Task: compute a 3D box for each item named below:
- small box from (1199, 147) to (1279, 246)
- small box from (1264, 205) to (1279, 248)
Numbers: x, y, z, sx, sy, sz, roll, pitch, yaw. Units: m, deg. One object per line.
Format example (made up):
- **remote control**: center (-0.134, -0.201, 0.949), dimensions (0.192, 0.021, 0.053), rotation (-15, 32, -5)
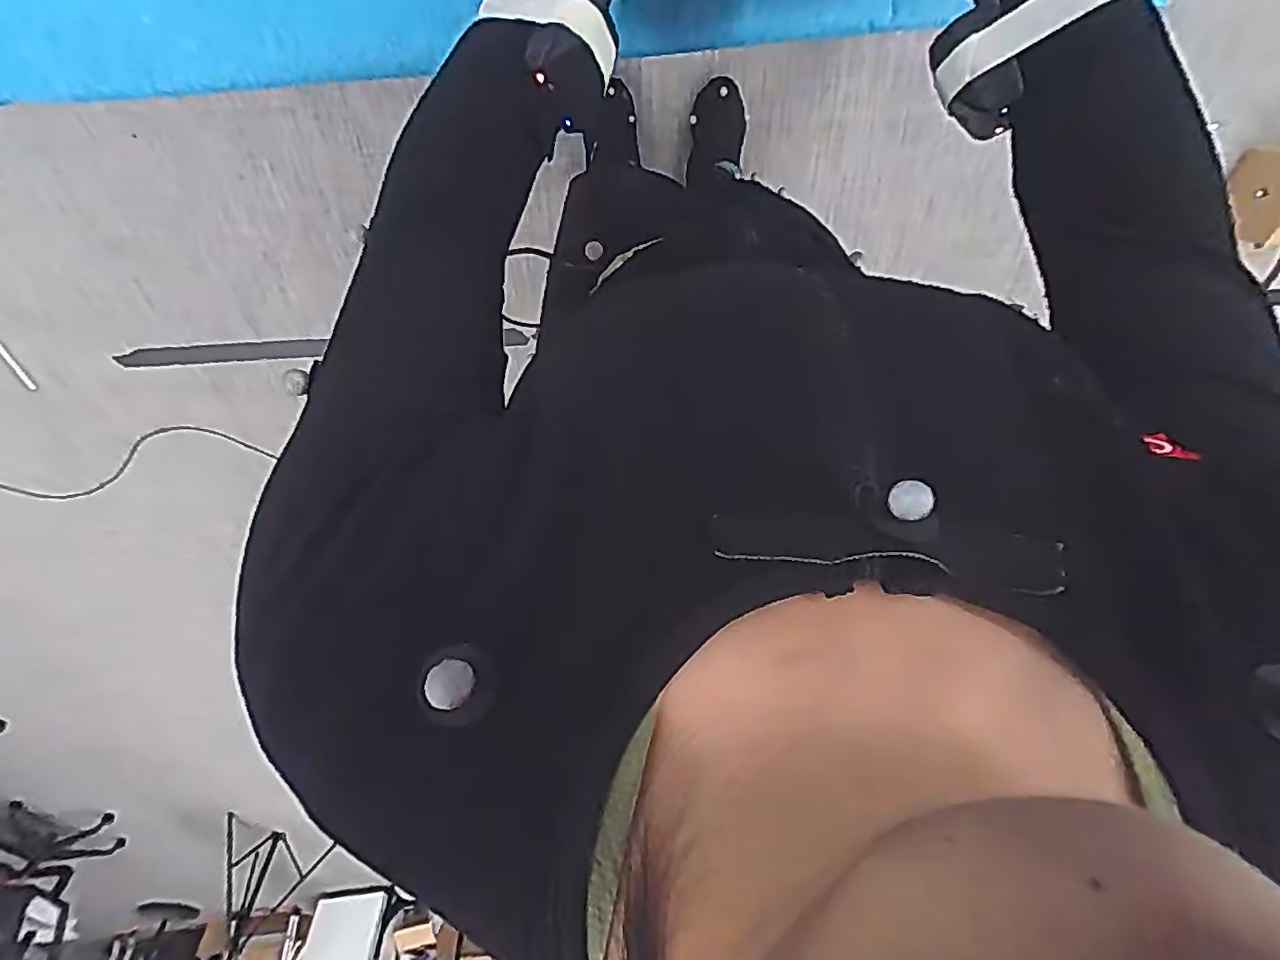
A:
- **small box**: center (1.490, -0.665, 1.264), dimensions (0.168, 0.176, 0.179), rotation (-3, 129, -4)
- **small box**: center (1.514, -0.559, 1.136), dimensions (0.168, 0.176, 0.179), rotation (26, 122, -25)
